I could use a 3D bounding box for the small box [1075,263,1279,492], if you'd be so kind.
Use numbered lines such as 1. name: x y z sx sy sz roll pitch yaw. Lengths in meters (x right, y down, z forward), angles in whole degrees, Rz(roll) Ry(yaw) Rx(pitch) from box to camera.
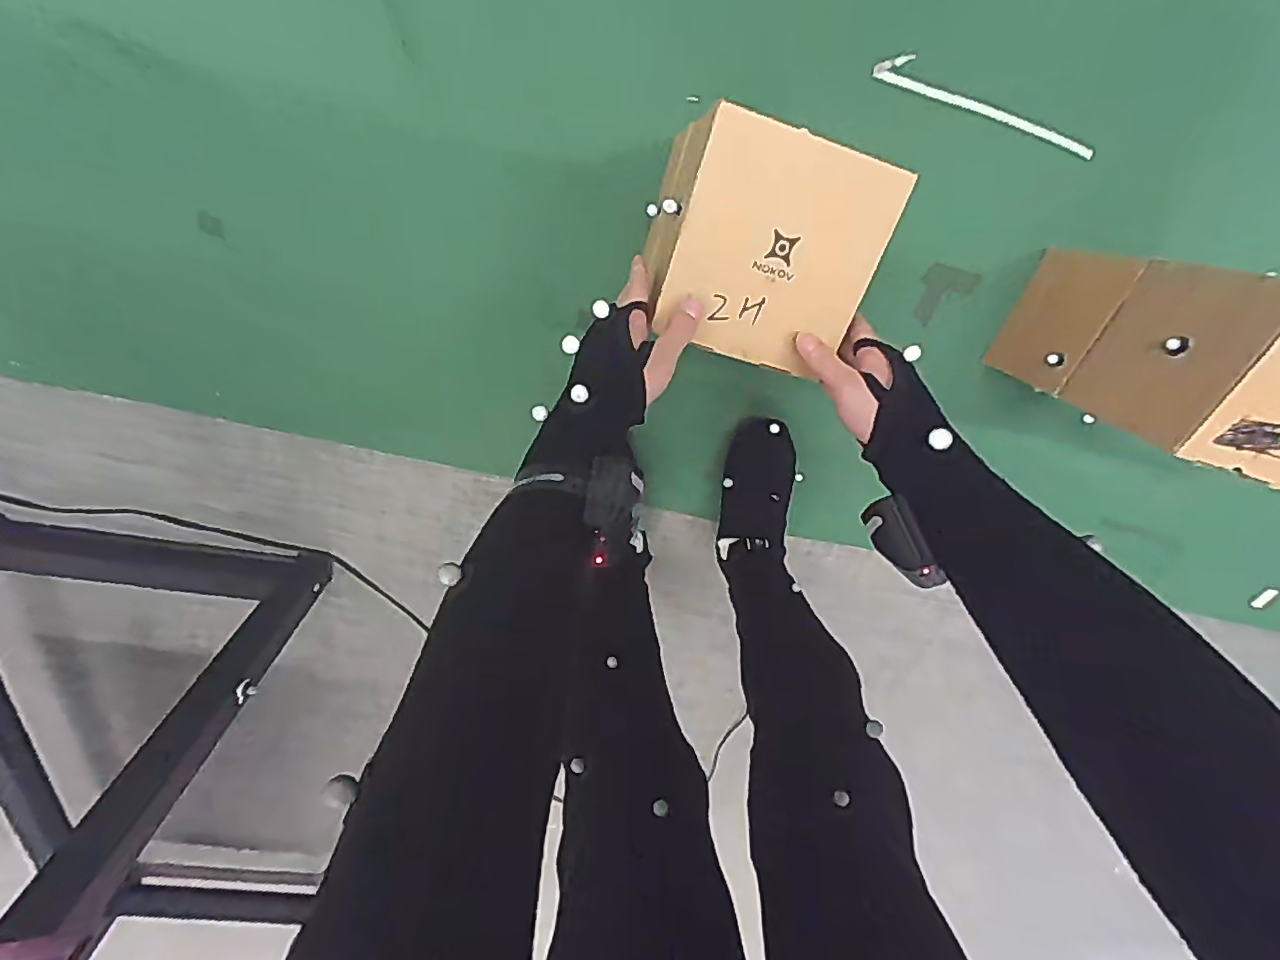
1. small box: 0.634 -0.116 0.588 0.168 0.176 0.179 14 117 -11

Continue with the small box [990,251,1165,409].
1. small box: 0.627 -0.195 0.732 0.168 0.176 0.179 13 118 -10

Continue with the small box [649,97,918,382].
1. small box: 0.109 -0.218 0.507 0.168 0.176 0.179 15 117 -9
